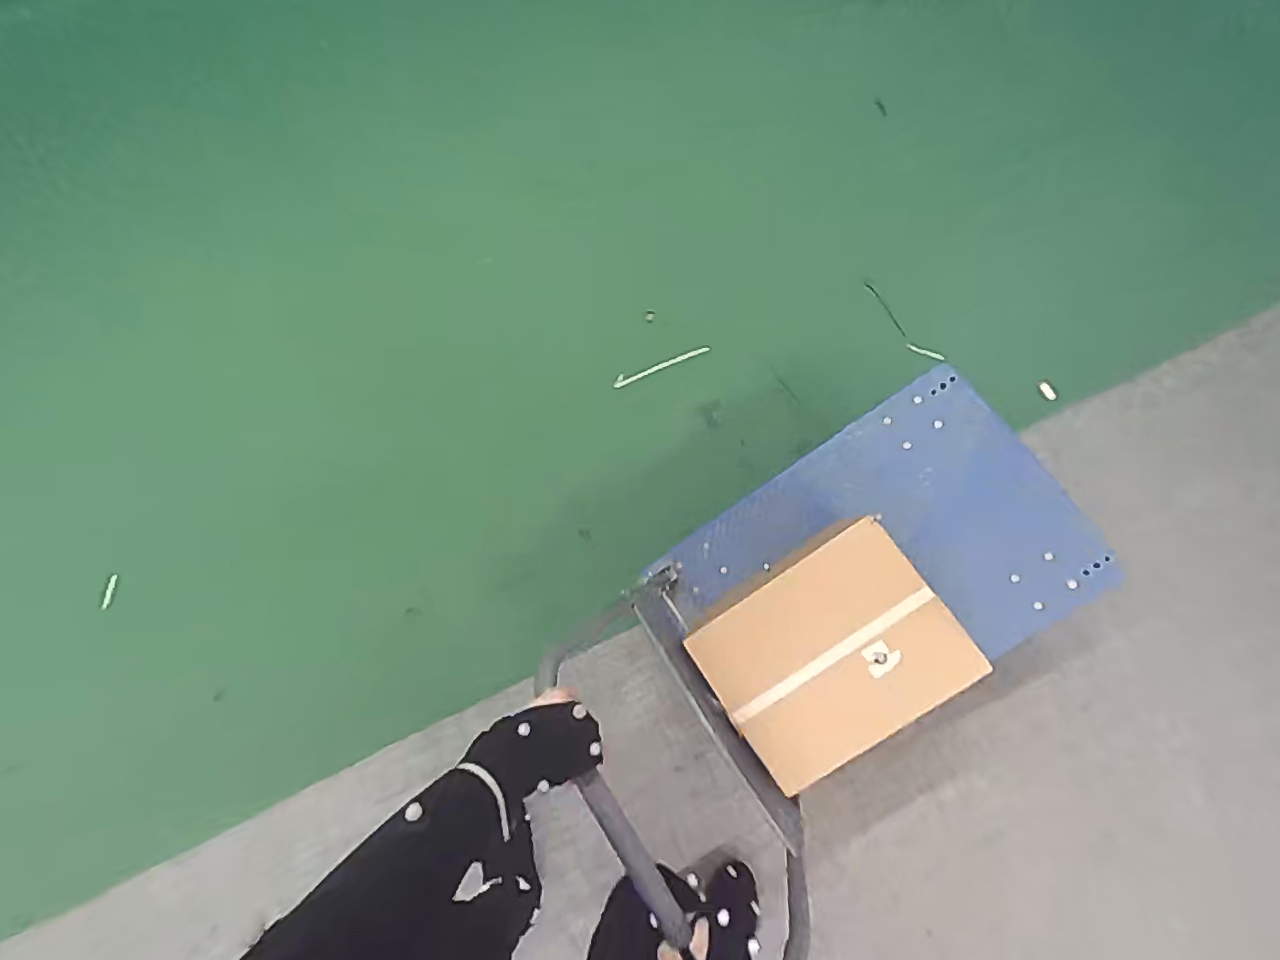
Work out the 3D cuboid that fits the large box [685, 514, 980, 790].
[{"bbox_3d":[0.348,0.314,1.082,0.408,0.320,0.320,-35,80,5],"label":"large box"}]
